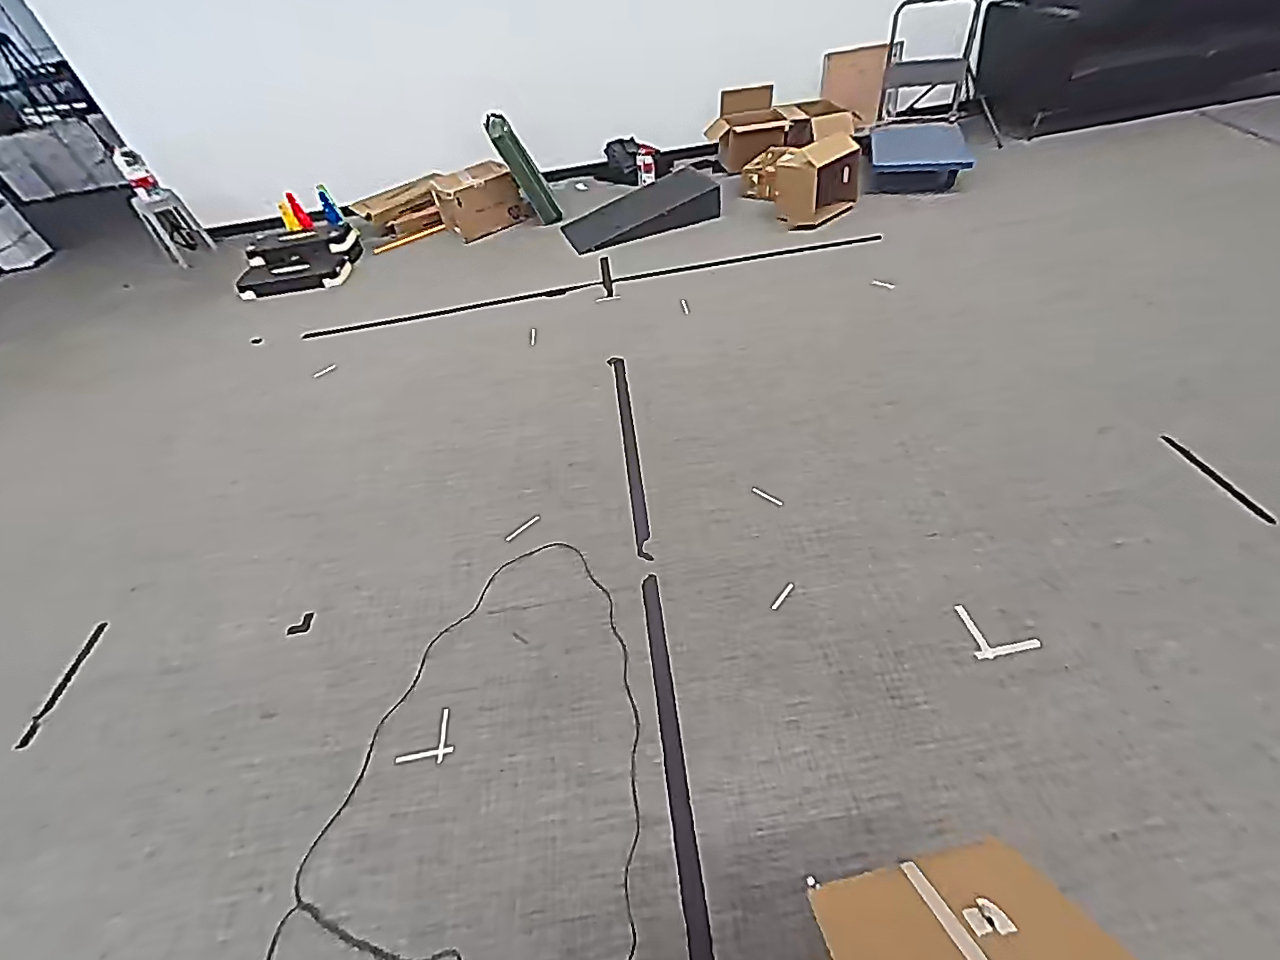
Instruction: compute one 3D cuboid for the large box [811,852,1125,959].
[{"bbox_3d":[0.437,0.723,0.606,0.320,0.408,0.320,-13,84,1],"label":"large box"}]
